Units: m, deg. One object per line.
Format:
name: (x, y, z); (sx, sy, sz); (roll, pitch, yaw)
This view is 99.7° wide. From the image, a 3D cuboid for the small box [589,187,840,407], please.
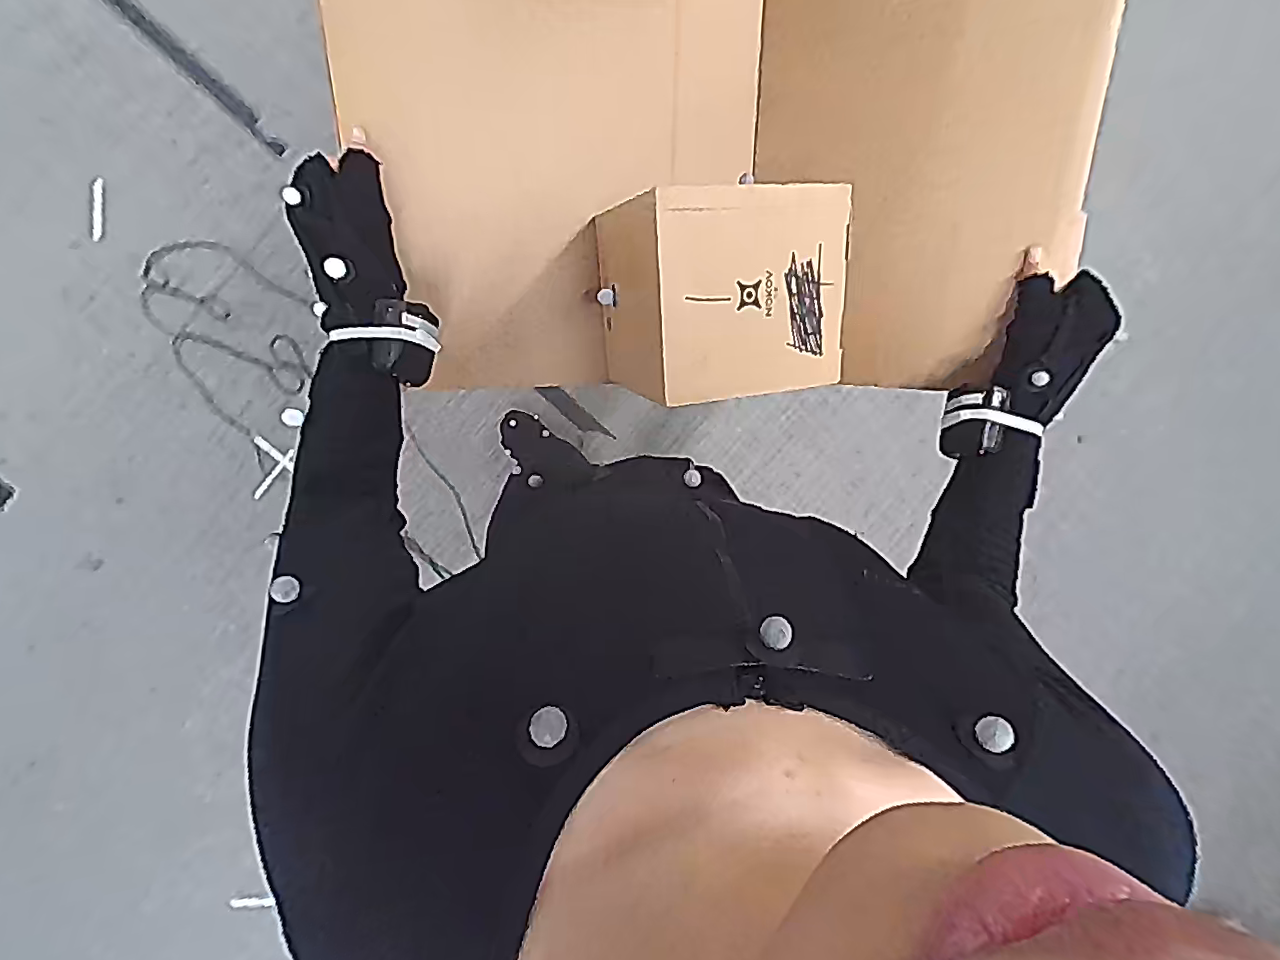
small box: (0.063, -0.176, 0.519); (0.179, 0.176, 0.168); (-11, 111, -17)
